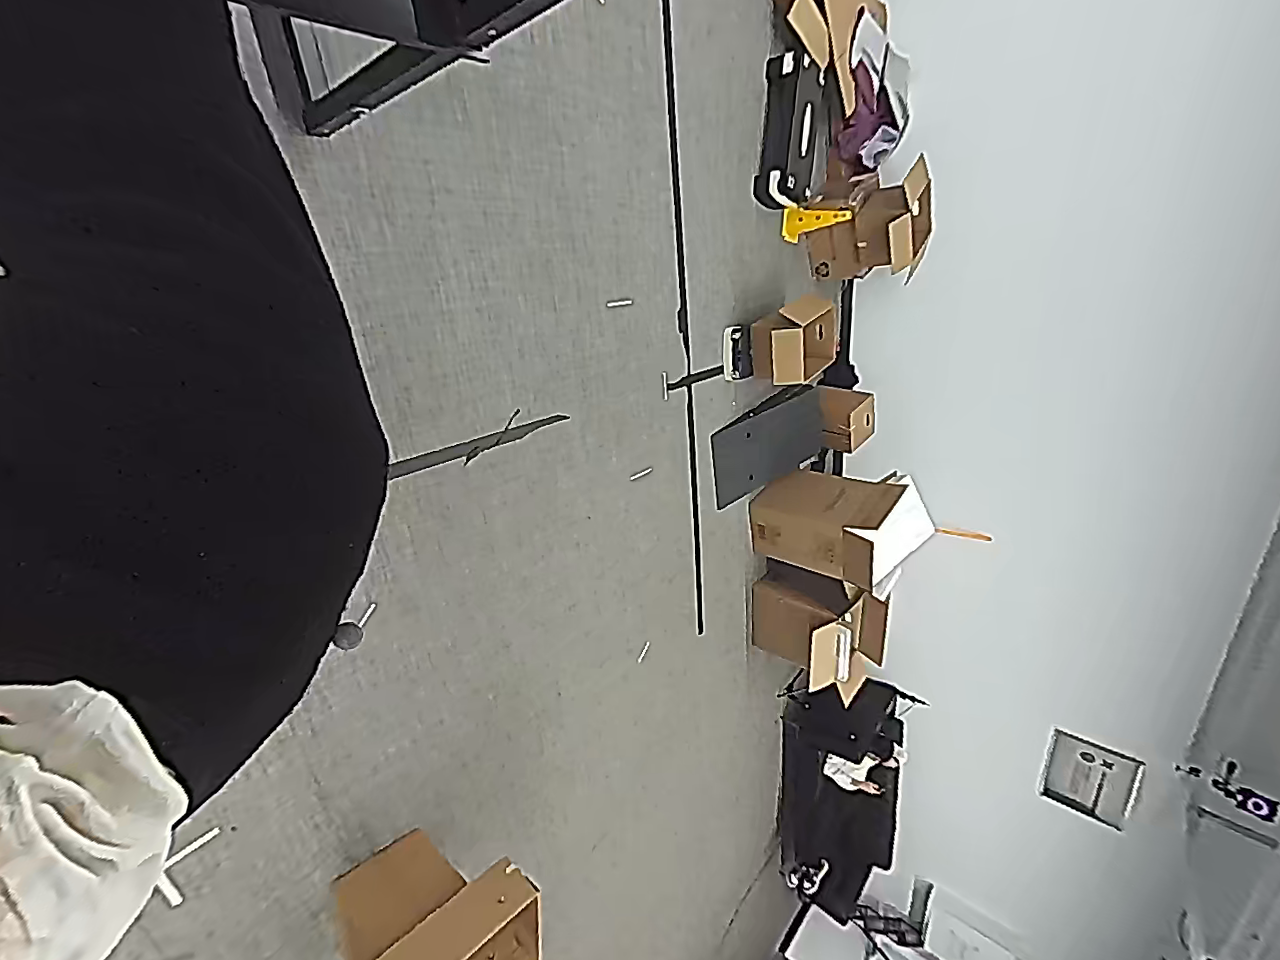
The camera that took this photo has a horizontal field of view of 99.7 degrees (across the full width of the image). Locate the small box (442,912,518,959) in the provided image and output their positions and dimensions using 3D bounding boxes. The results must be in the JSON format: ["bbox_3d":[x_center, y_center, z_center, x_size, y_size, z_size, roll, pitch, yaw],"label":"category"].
[{"bbox_3d":[-0.506,1.550,1.725,0.179,0.176,0.168,-19,115,-45],"label":"small box"}]
